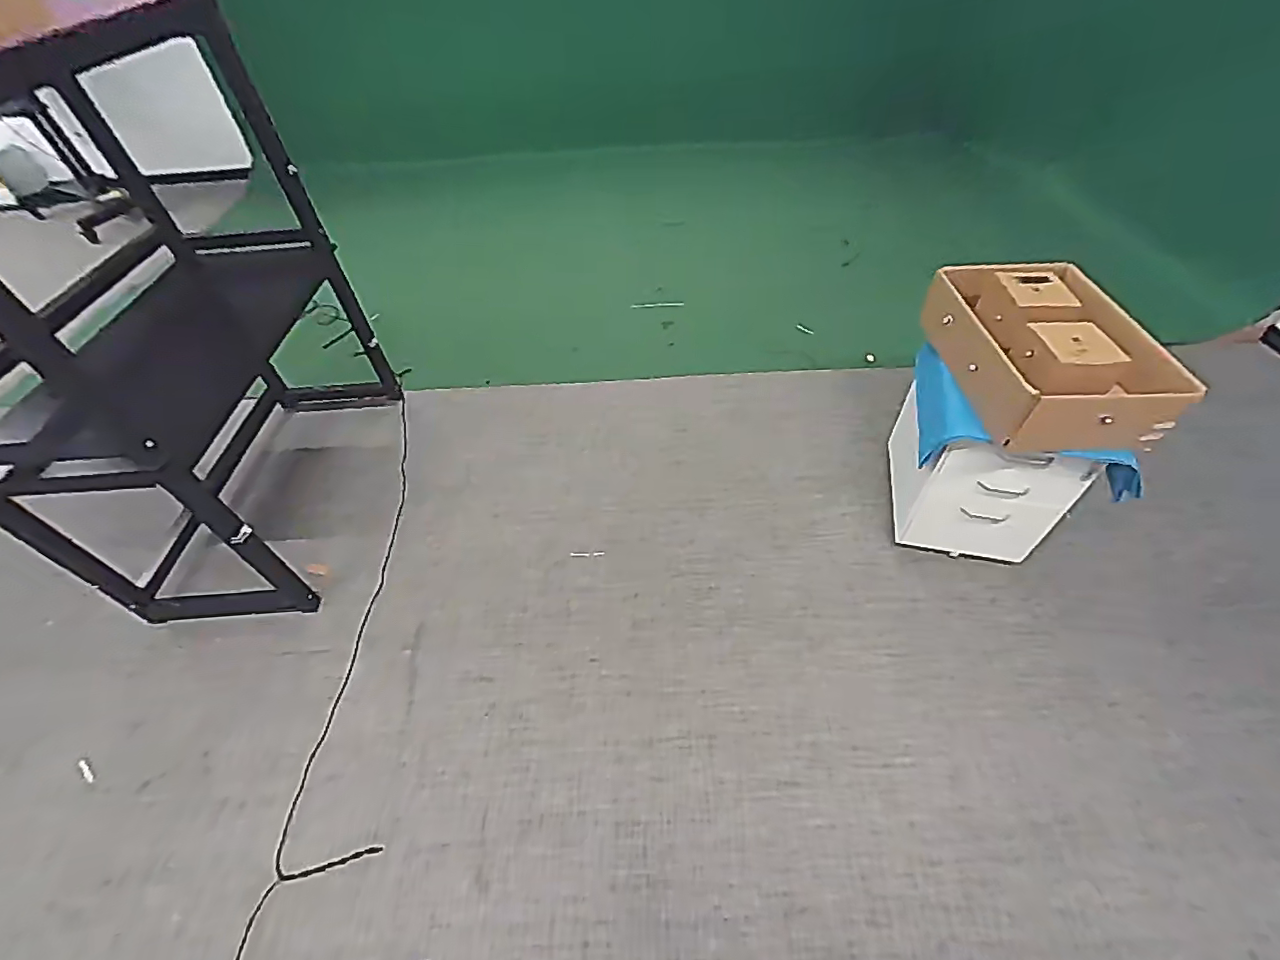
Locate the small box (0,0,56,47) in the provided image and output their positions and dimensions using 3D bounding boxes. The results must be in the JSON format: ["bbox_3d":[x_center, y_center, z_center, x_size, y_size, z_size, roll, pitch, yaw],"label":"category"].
[{"bbox_3d":[-1.350,-0.977,1.074,0.168,0.176,0.179,-5,48,0],"label":"small box"}]
